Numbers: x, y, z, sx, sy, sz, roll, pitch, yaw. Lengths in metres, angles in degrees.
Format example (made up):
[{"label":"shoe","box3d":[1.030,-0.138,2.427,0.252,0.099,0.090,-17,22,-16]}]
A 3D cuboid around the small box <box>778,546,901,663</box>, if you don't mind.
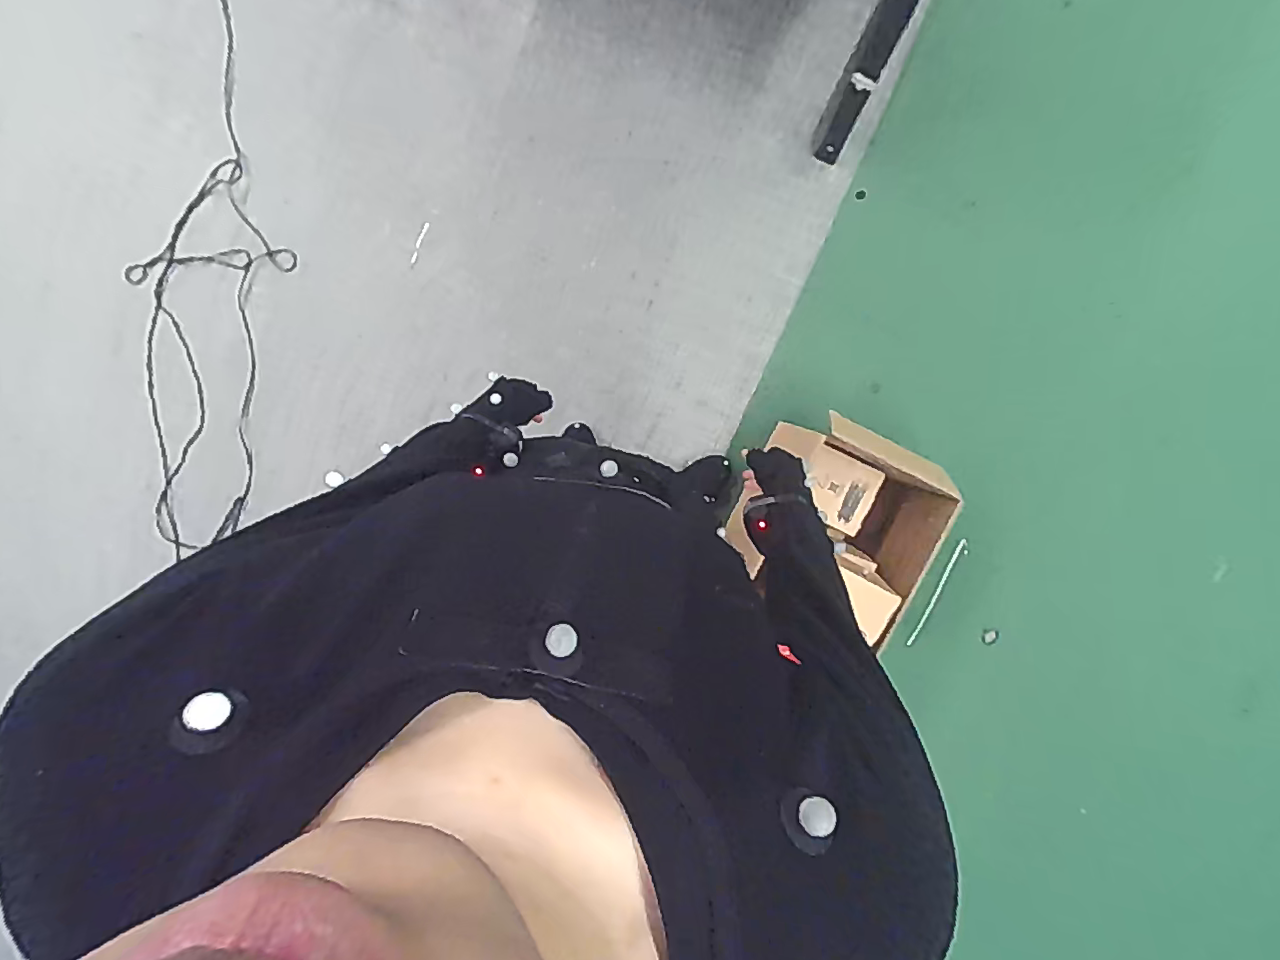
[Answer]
[{"label":"small box","box3d":[0.424,0.261,1.187,0.179,0.176,0.168,28,99,2]}]
